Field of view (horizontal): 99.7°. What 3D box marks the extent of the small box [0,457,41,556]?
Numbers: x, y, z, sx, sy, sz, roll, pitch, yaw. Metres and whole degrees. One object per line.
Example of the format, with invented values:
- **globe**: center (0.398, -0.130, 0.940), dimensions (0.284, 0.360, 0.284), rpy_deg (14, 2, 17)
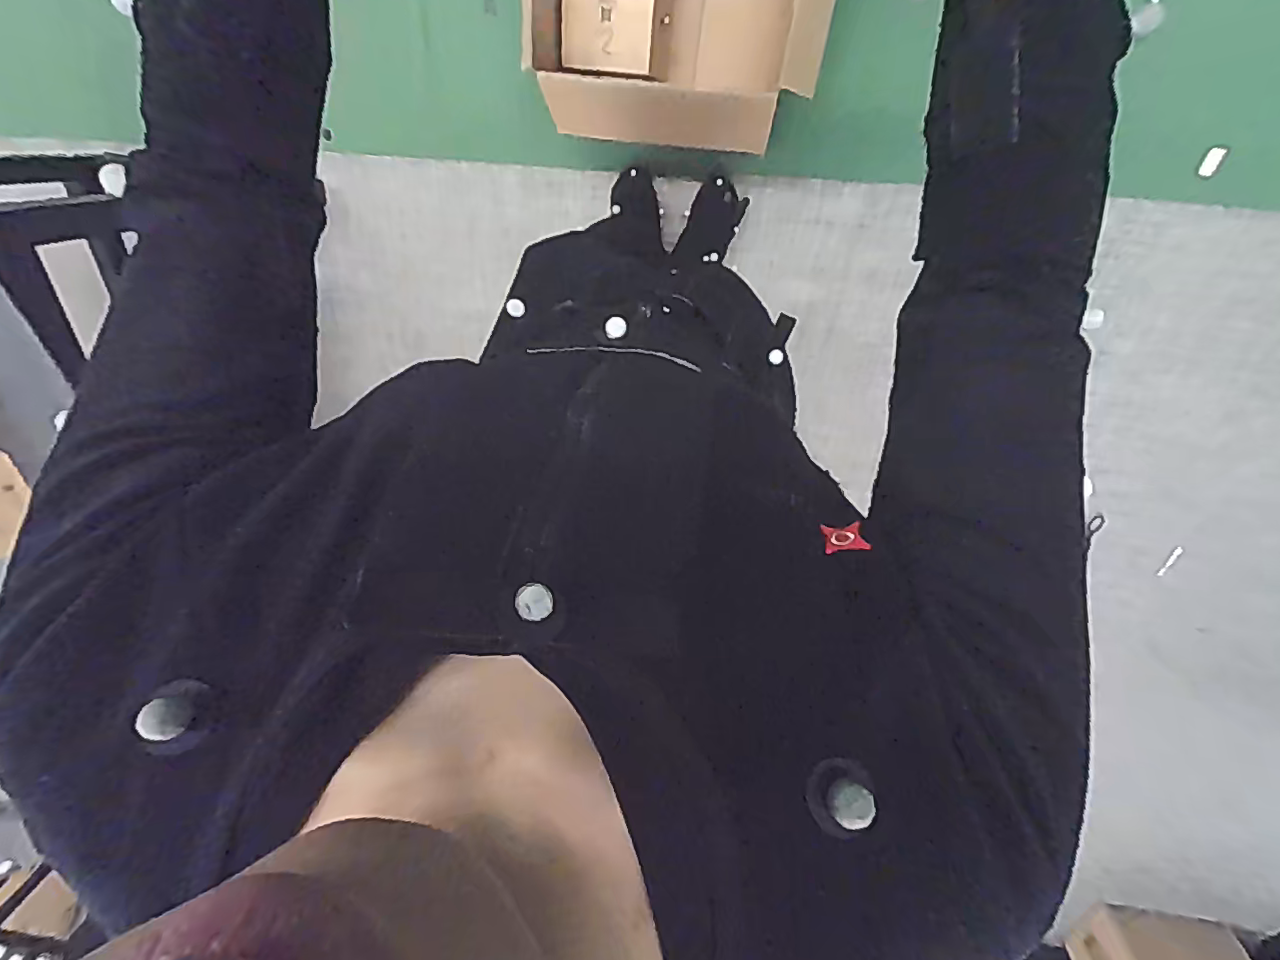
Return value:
- **small box**: center (-1.178, 0.053, 0.899), dimensions (0.179, 0.176, 0.168), rpy_deg (7, 123, 7)
